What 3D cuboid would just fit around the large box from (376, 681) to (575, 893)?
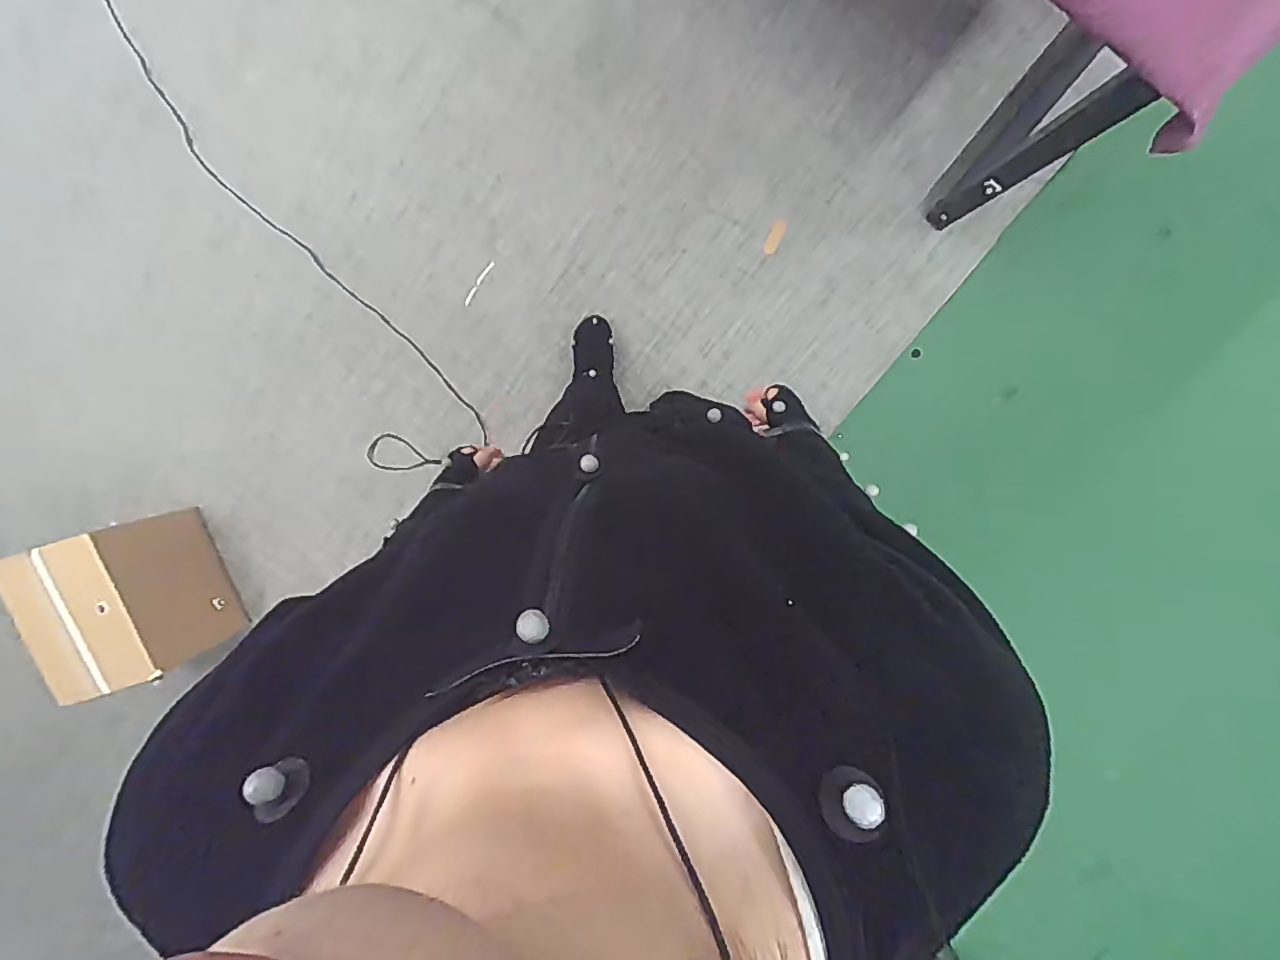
[{"bbox_3d":[-0.442,0.841,1.526,0.408,0.320,0.320,24,101,-2],"label":"large box"}]
